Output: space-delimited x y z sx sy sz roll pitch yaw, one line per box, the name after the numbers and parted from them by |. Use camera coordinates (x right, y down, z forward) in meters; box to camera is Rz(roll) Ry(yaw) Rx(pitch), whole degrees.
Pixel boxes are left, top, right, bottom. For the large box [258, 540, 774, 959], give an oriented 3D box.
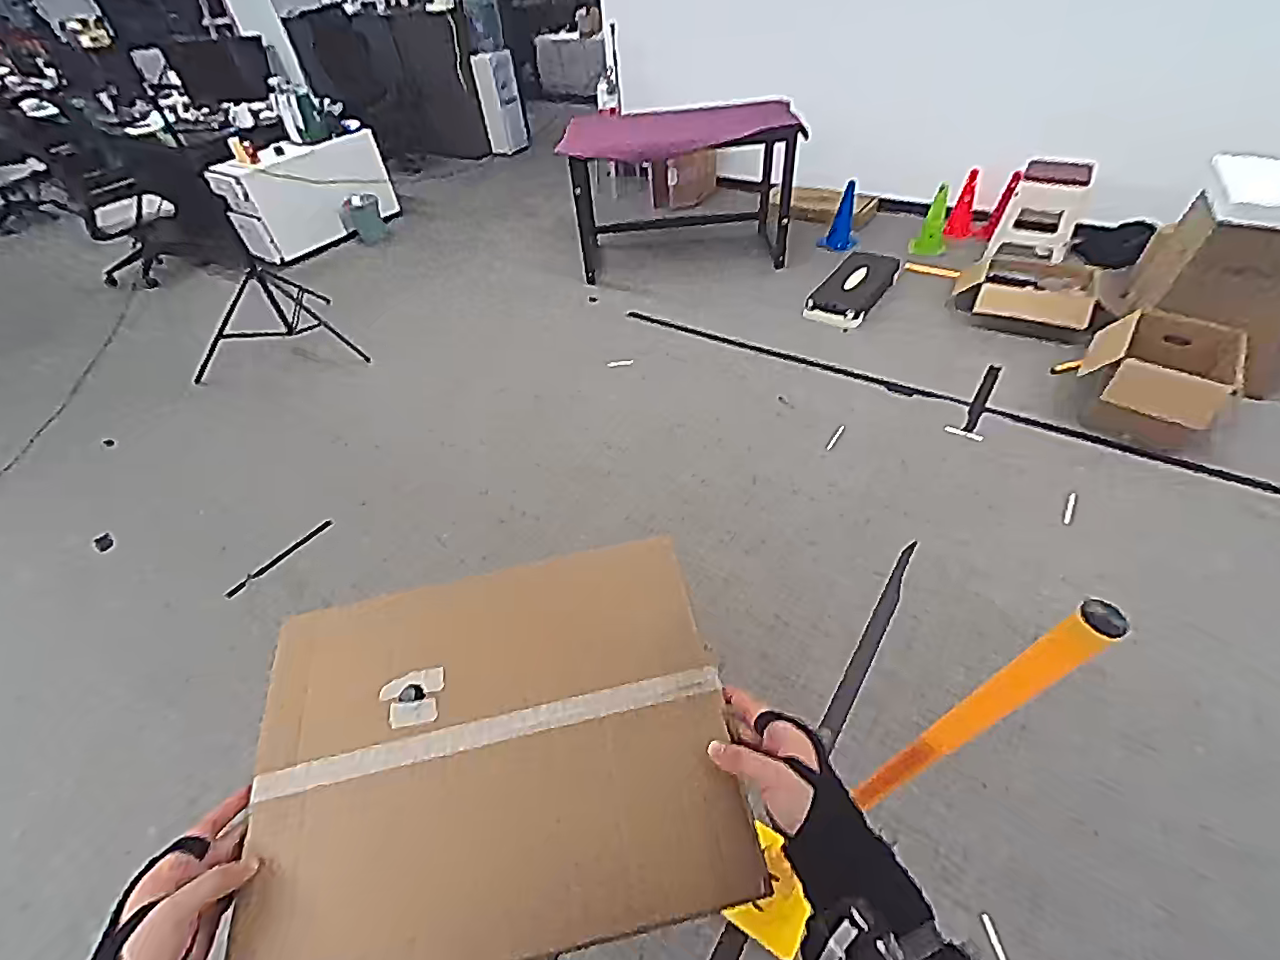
-0.108 0.314 0.606 0.408 0.320 0.320 -13 54 -4 | large box
